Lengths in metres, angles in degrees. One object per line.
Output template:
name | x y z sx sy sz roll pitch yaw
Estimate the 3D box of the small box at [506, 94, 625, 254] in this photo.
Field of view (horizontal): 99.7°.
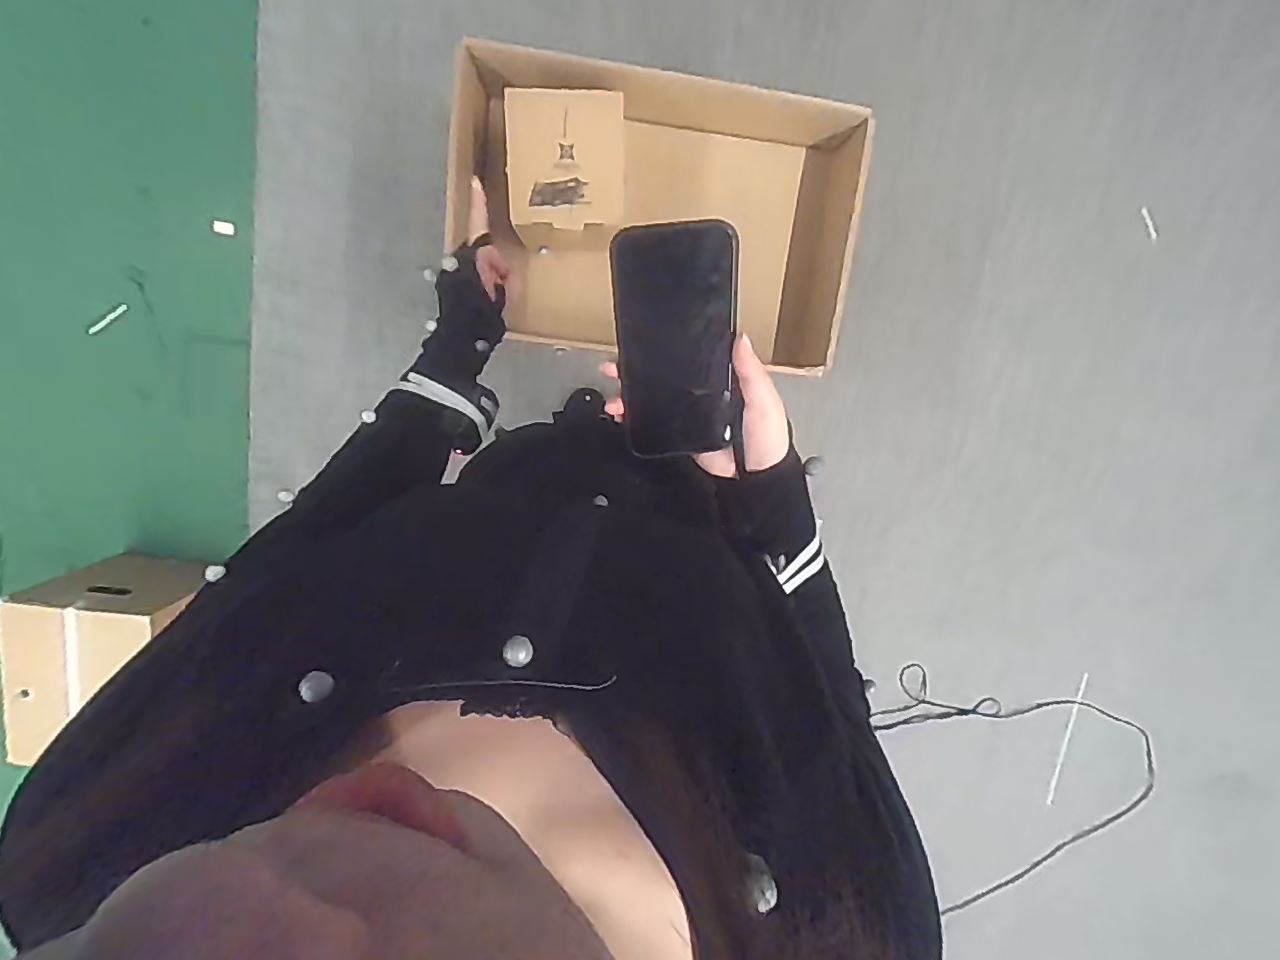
small box | -0.107 -0.459 0.839 0.168 0.176 0.179 -1 100 -3
